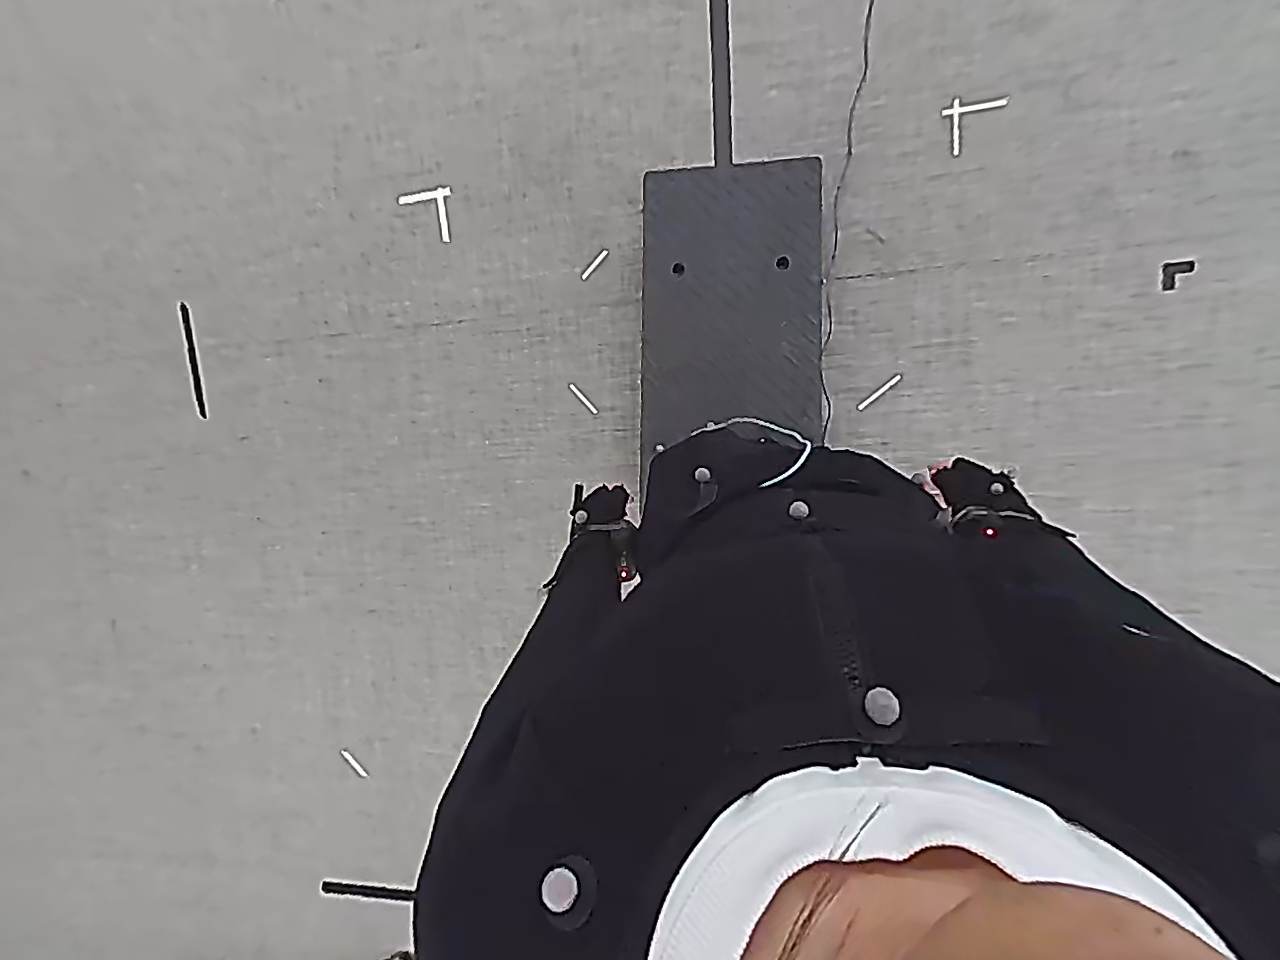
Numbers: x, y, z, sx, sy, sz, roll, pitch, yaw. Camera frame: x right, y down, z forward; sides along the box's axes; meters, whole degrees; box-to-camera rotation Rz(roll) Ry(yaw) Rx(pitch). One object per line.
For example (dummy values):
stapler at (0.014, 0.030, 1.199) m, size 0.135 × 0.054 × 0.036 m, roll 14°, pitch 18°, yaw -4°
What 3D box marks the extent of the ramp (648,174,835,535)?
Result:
ramp at (0.265, -0.348, 1.503) m, size 0.509 × 0.206 × 0.991 m, roll -3°, pitch 95°, yaw 11°
